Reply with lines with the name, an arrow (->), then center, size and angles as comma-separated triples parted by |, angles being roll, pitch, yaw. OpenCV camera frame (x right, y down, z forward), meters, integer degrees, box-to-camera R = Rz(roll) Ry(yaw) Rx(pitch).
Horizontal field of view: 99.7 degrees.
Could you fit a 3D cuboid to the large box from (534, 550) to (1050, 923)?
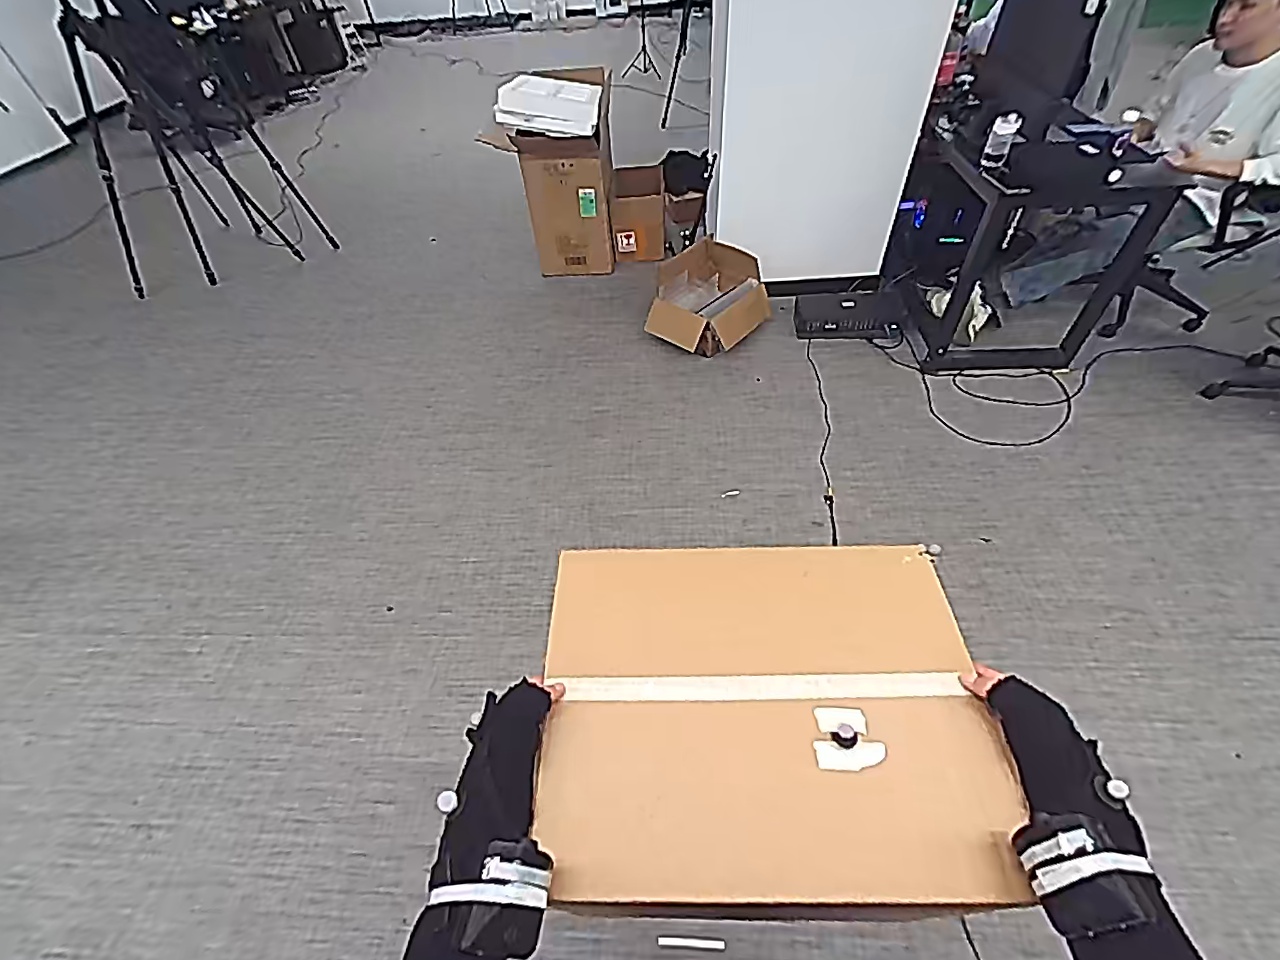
large box -> 0.116, 0.297, 0.620 | 0.408, 0.320, 0.320 | -1, 49, 1
